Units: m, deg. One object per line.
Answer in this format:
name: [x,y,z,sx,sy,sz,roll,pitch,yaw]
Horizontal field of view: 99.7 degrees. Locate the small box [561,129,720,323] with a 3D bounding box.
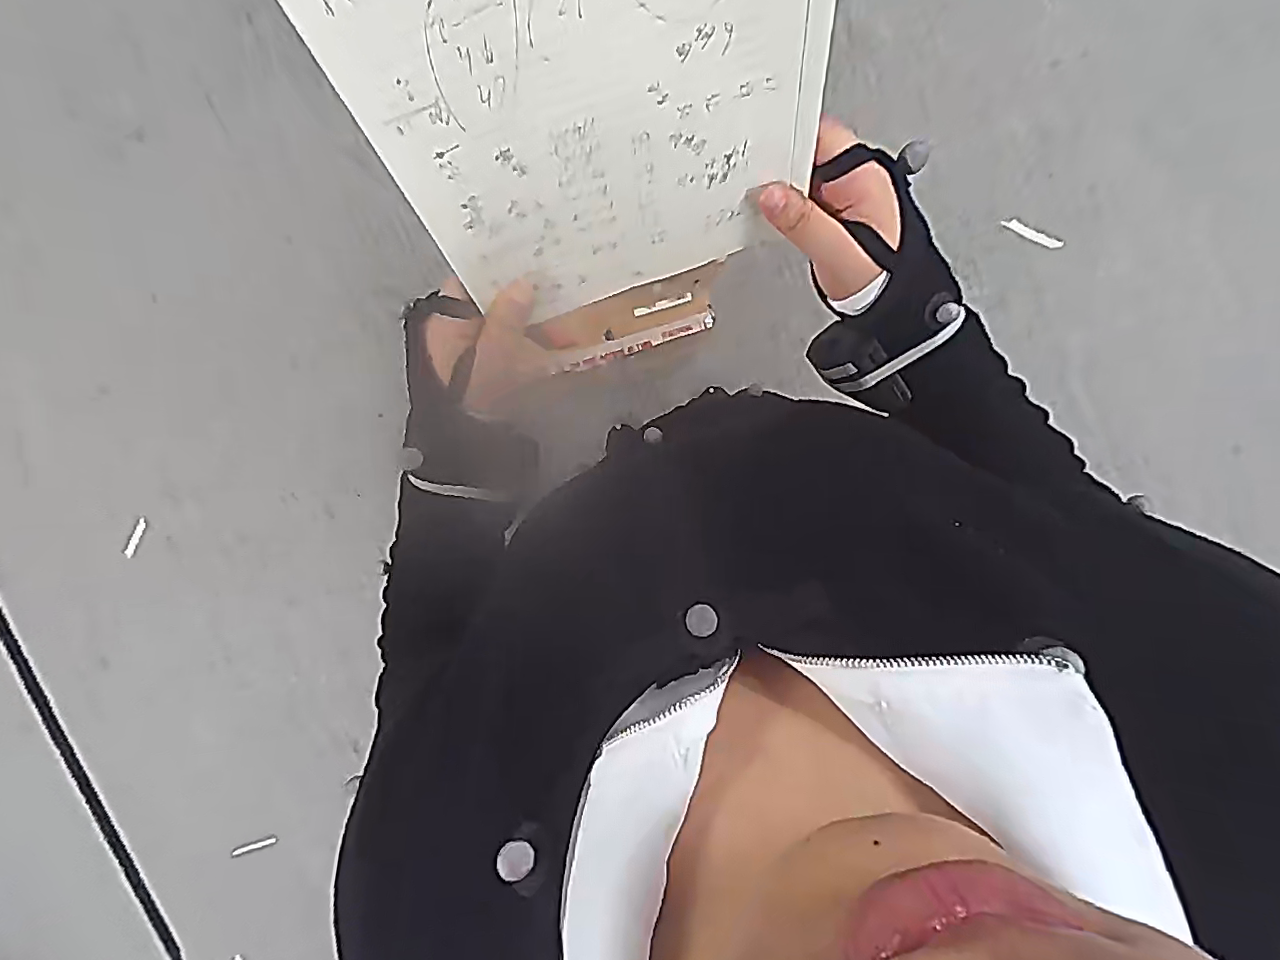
small box: [-0.001,-0.327,0.733,0.168,0.176,0.179,-14,98,1]

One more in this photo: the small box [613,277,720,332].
small box: [0.017,-0.357,0.895,0.179,0.176,0.168,-18,97,3]
